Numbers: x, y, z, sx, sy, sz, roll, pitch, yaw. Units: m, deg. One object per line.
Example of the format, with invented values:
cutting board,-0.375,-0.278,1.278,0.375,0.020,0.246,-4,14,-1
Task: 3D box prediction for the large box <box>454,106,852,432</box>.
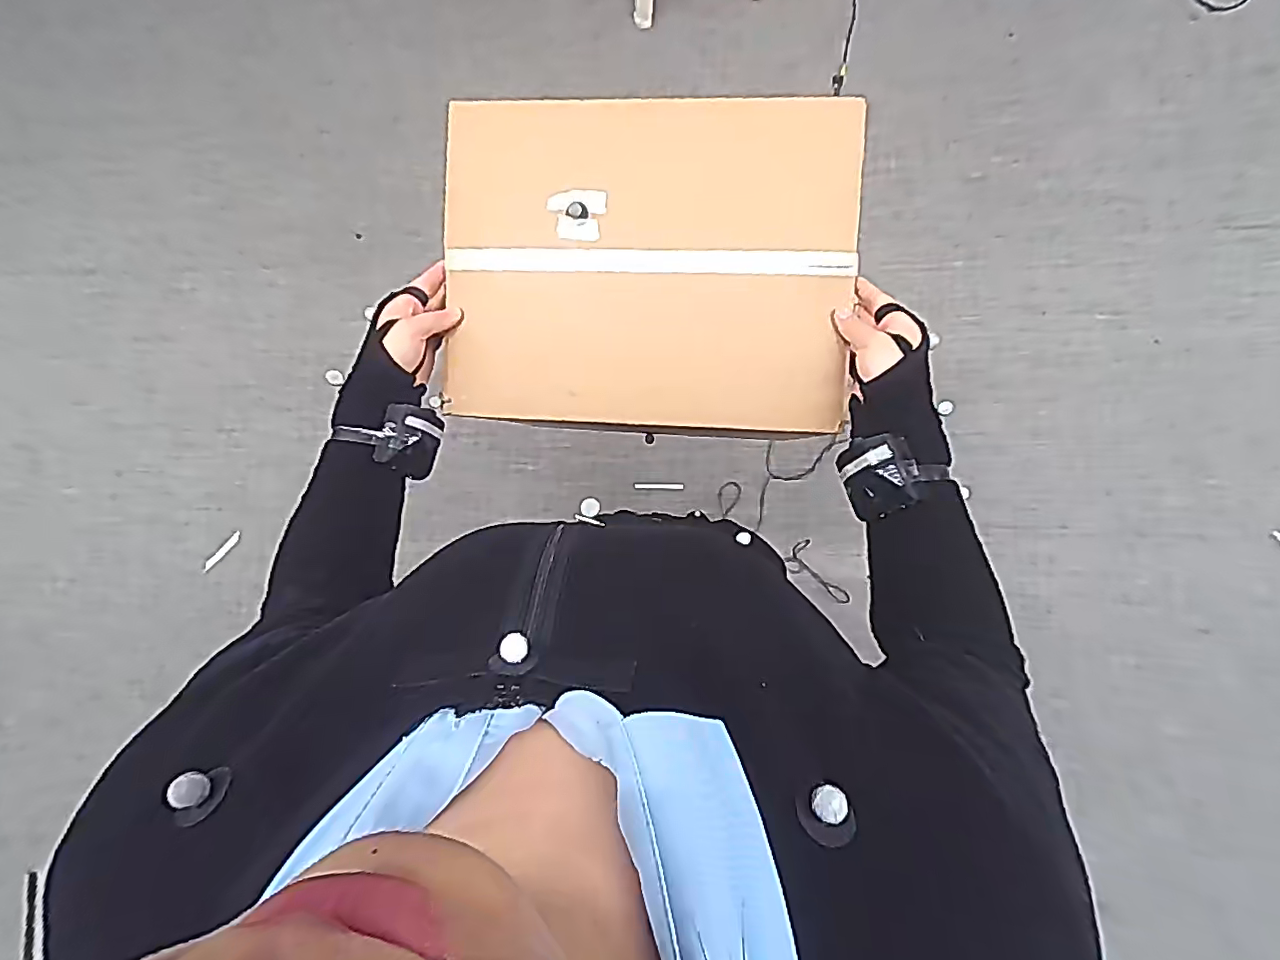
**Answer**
large box,0.021,-0.220,0.693,0.408,0.320,0.320,3,92,6
